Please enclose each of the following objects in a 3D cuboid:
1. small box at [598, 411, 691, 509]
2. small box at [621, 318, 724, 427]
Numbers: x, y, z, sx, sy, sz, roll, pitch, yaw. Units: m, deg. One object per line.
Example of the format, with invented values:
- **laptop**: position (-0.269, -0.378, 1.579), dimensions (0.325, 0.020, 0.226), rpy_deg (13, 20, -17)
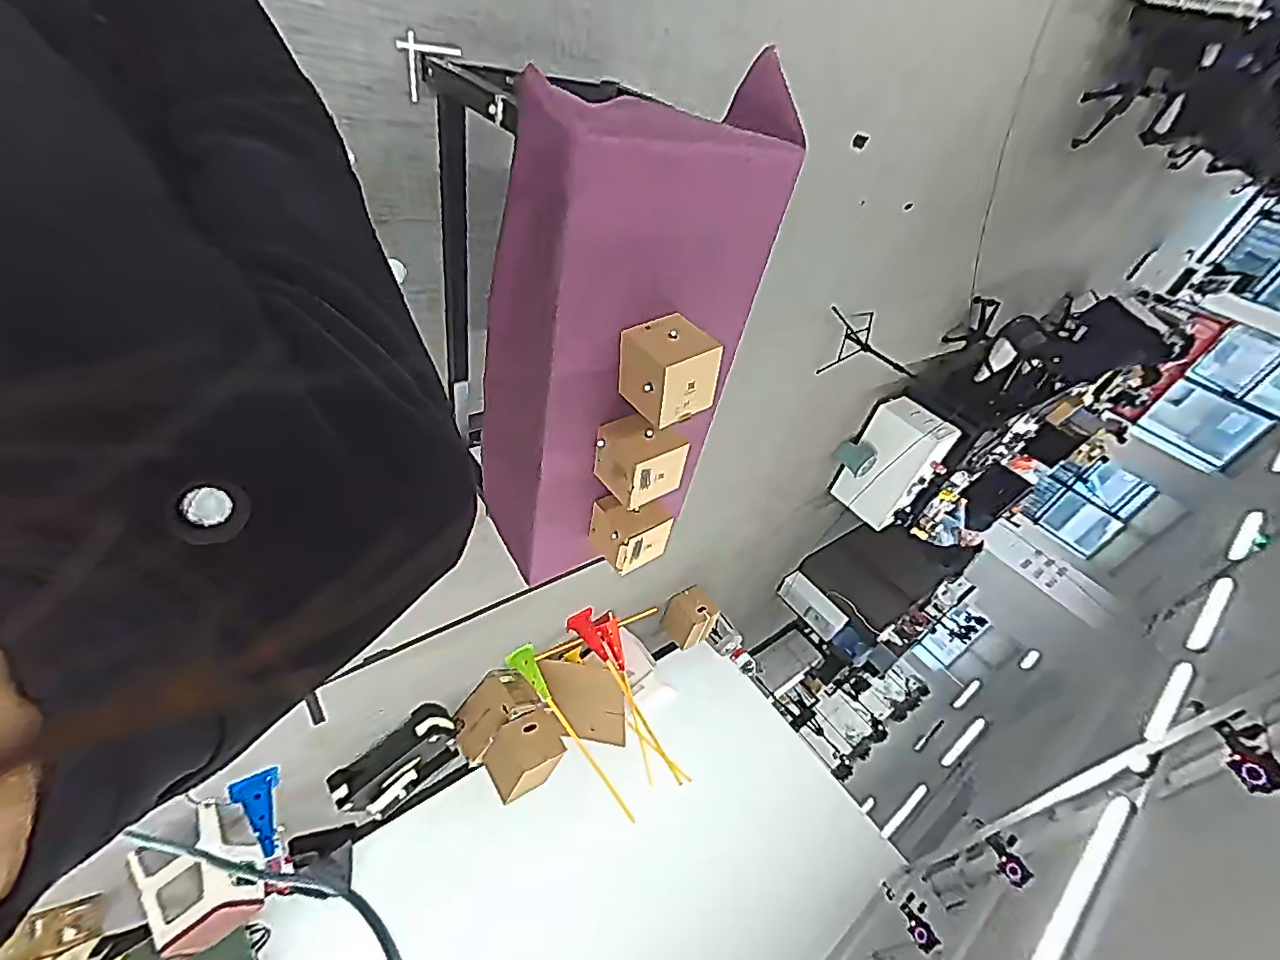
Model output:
- **small box**: position (0.005, -0.060, 1.428), dimensions (0.179, 0.176, 0.168), rpy_deg (-24, 143, -30)
- **small box**: position (0.069, -0.260, 1.266), dimensions (0.168, 0.176, 0.179), rpy_deg (-26, 144, -26)
